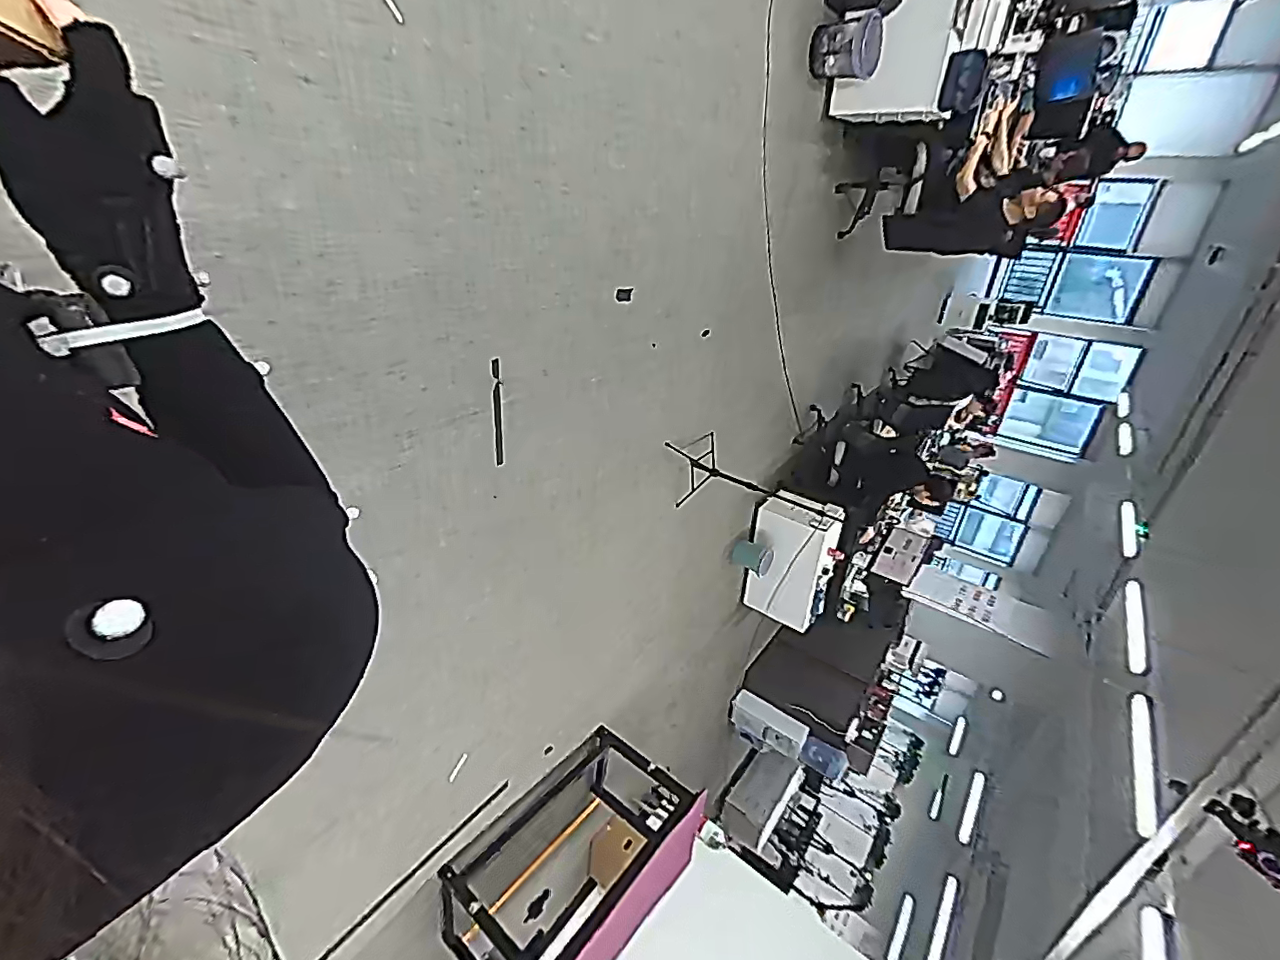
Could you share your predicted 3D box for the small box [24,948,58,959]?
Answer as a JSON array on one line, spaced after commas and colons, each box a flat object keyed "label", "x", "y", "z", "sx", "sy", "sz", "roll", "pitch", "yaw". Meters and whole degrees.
[{"label": "small box", "x": -1.296, "y": 1.138, "z": 1.109, "sx": 0.179, "sy": 0.176, "sz": 0.168, "roll": -25, "pitch": 129, "yaw": -48}]
